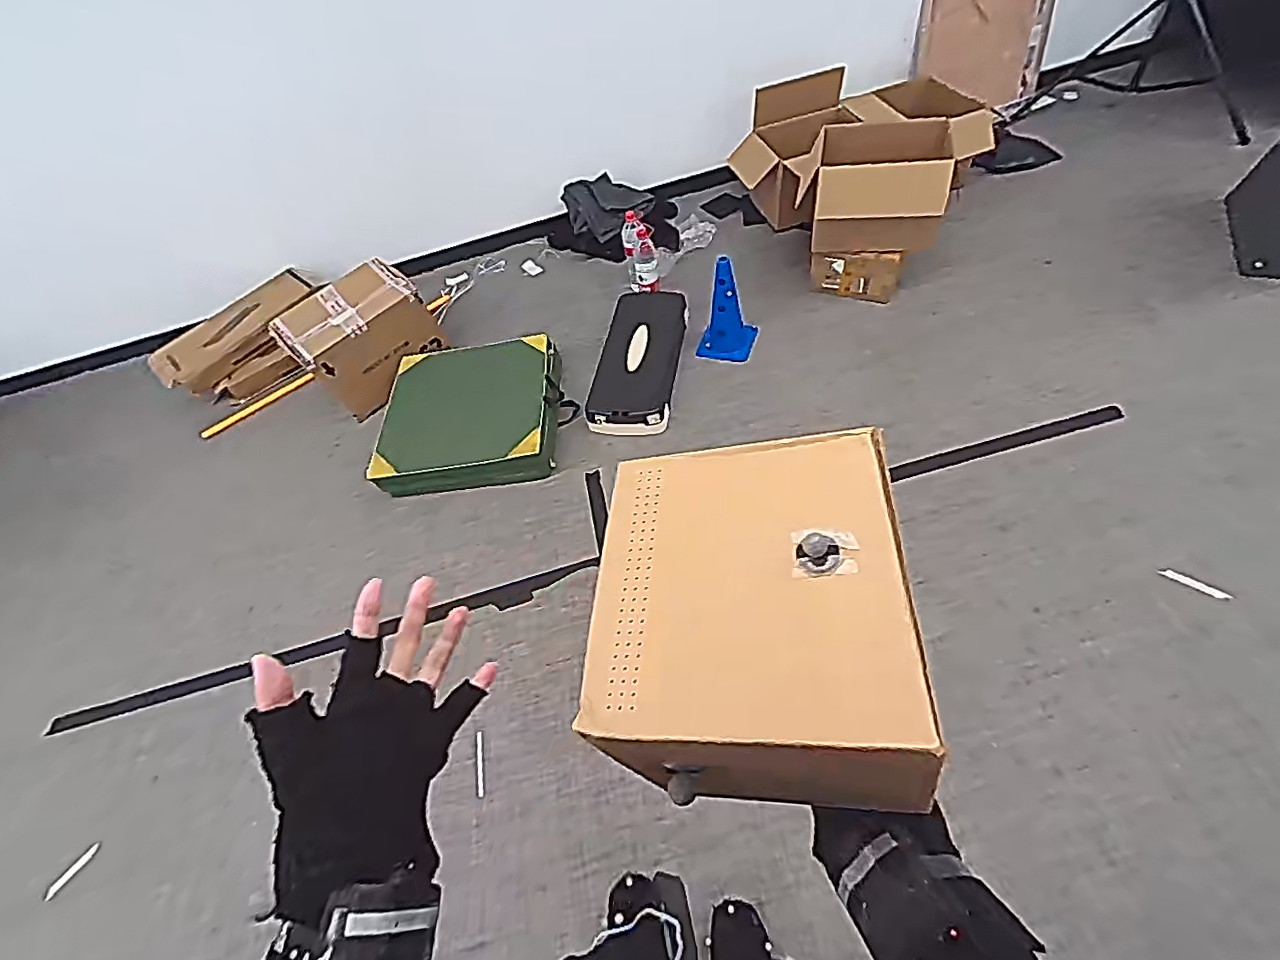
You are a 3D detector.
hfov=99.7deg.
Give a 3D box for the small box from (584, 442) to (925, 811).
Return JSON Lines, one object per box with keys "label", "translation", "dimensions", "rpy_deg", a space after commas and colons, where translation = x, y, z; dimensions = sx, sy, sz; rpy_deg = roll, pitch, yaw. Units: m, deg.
{"label": "small box", "translation": [0.077, 0.101, 0.359], "dimensions": [0.176, 0.168, 0.179], "rpy_deg": [-8, 50, 21]}
